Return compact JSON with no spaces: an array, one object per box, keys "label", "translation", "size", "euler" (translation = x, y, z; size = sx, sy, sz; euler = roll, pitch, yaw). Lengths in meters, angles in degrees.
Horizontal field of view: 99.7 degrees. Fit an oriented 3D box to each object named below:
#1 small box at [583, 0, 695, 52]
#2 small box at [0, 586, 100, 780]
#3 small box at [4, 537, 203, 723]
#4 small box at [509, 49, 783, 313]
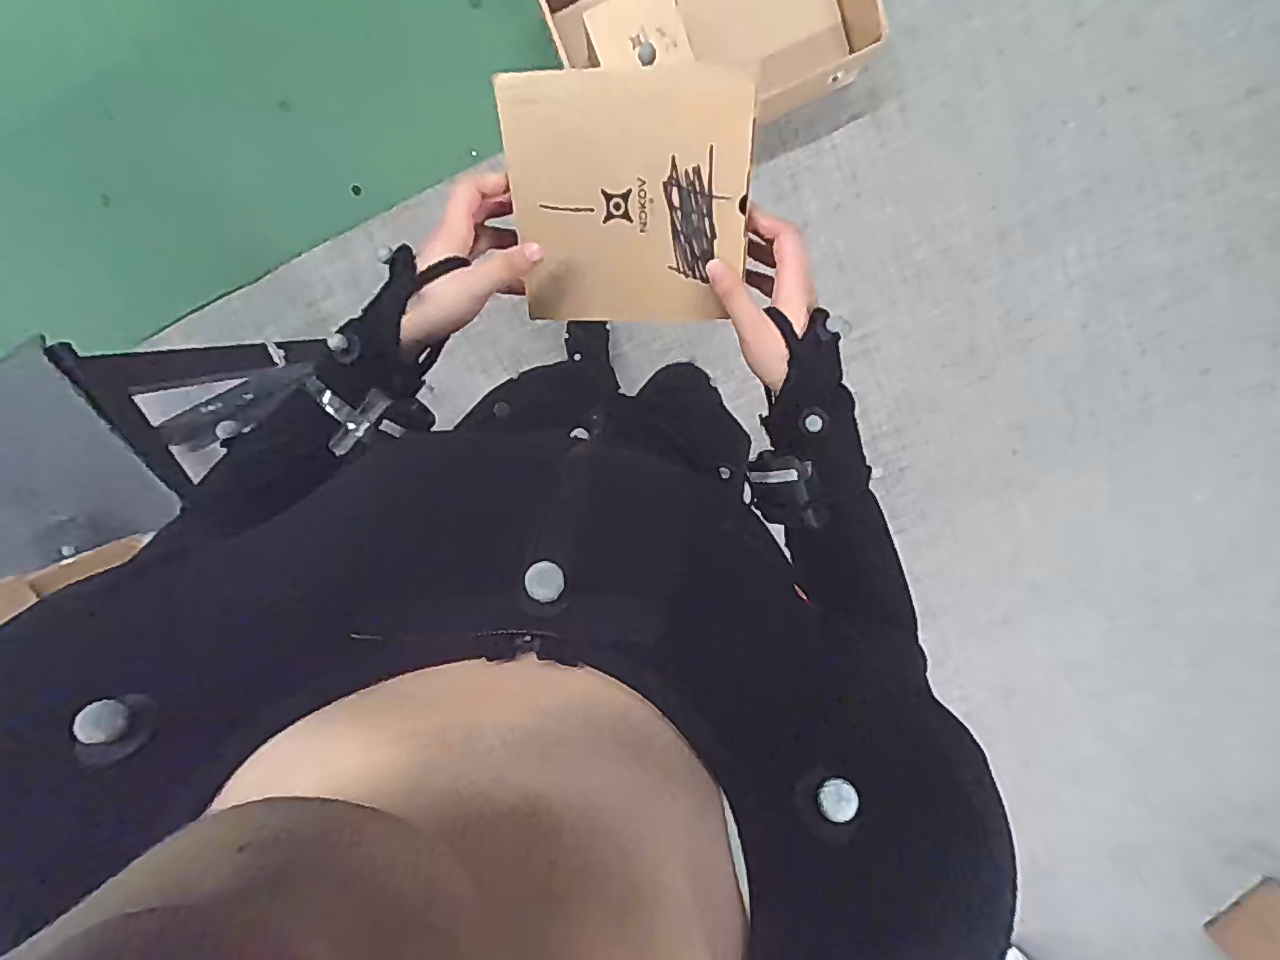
[{"label":"small box","translation":[0.001,-0.859,1.094],"size":[0.179,0.176,0.168],"euler":[-22,107,4]},{"label":"small box","translation":[-0.711,0.230,0.528],"size":[0.168,0.176,0.179],"euler":[-17,107,4]},{"label":"small box","translation":[-0.725,0.199,0.690],"size":[0.168,0.176,0.179],"euler":[-20,105,5]},{"label":"small box","translation":[0.011,-0.246,0.447],"size":[0.179,0.176,0.168],"euler":[2,124,6]}]
